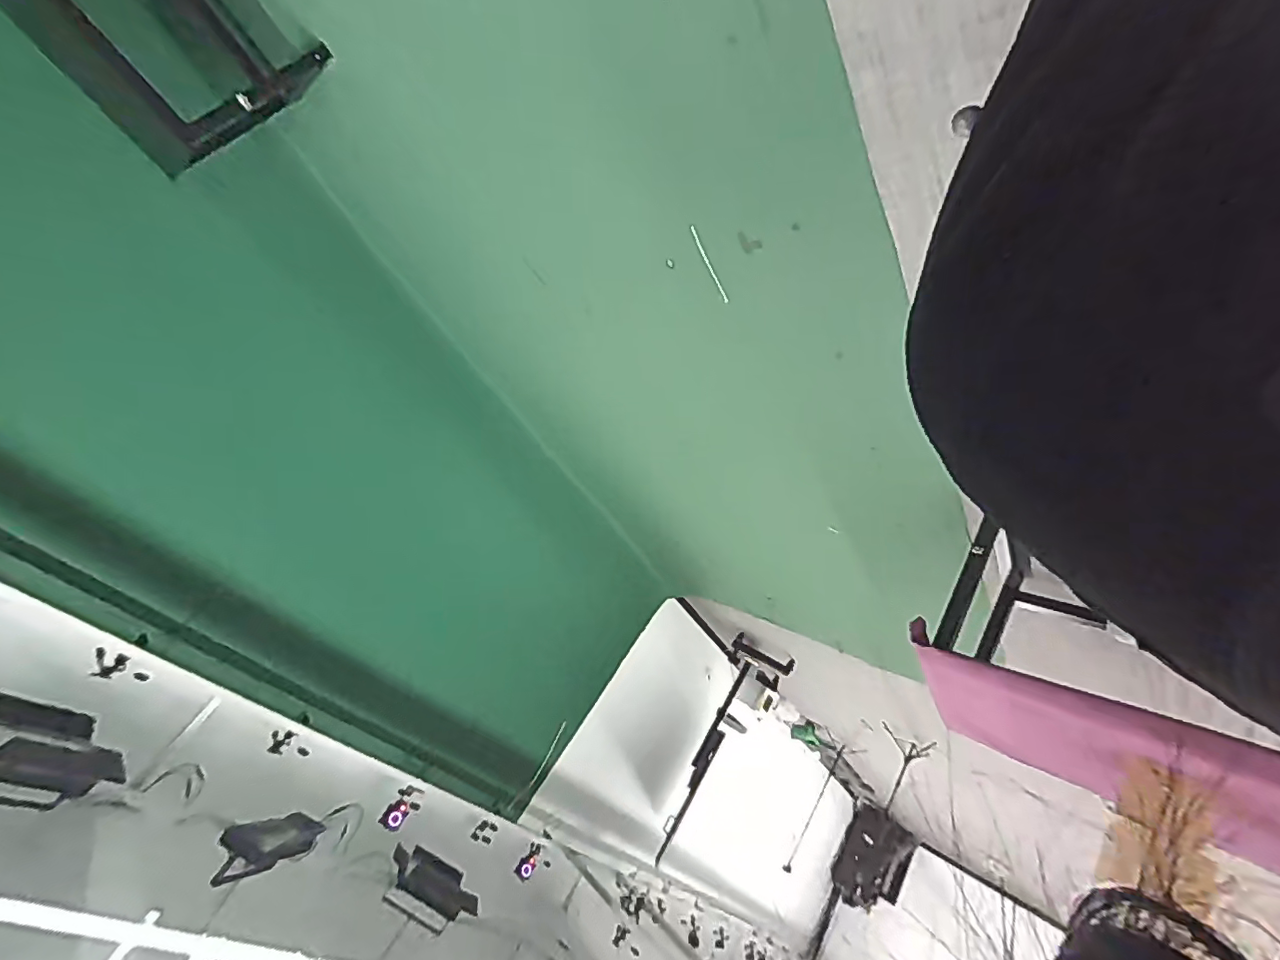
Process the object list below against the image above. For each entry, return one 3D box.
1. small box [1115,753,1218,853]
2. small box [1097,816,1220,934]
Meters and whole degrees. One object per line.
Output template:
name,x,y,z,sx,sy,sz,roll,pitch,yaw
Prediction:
small box,1.376,0.856,1.416,0.168,0.176,0.179,13,148,45
small box,1.290,0.978,1.348,0.179,0.176,0.168,21,154,37
